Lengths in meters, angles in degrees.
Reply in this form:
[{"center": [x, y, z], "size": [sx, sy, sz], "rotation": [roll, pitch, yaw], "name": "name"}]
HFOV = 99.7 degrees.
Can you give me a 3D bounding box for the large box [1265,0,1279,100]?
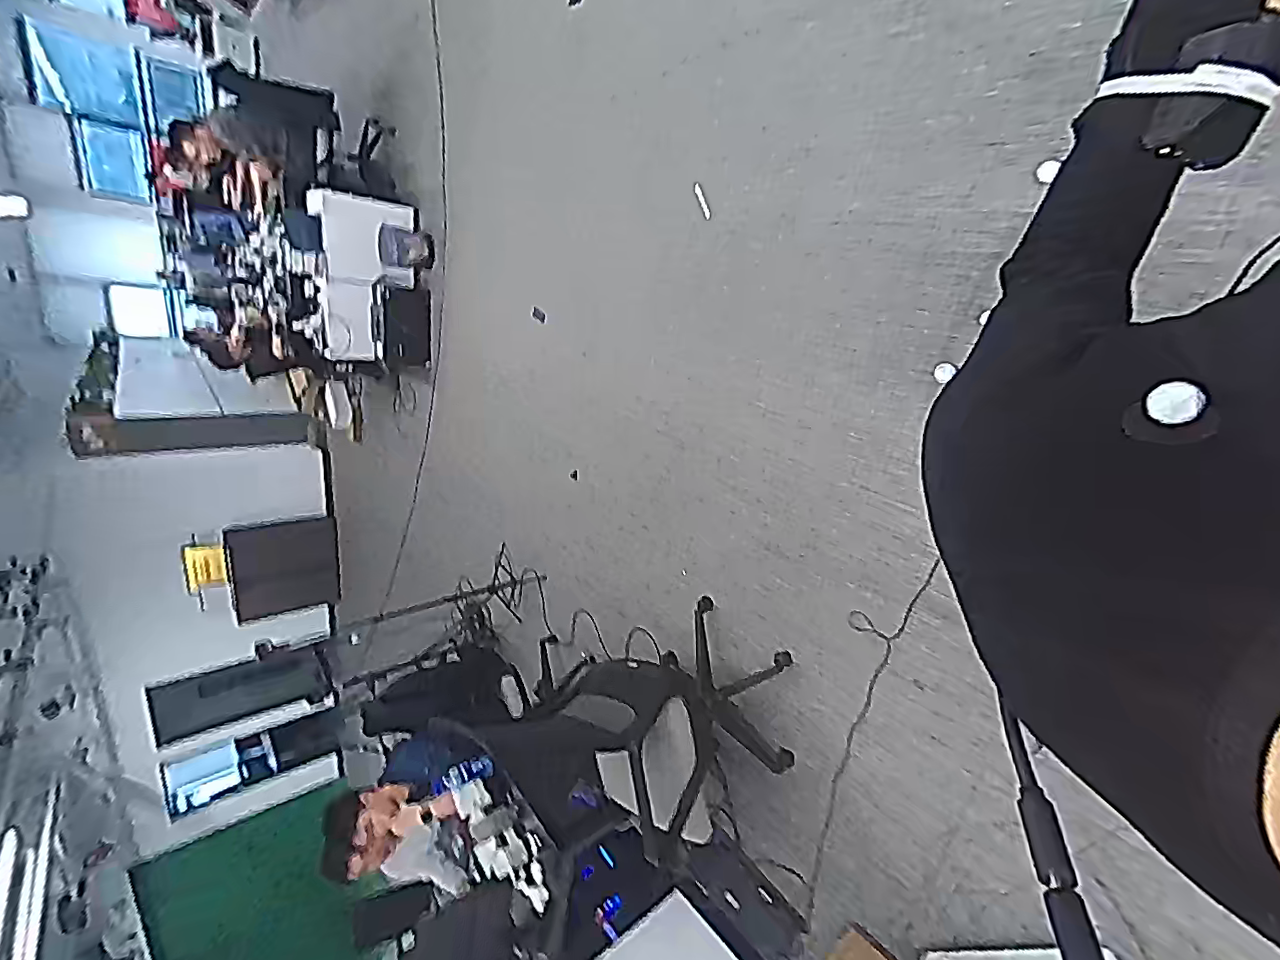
[{"center": [0.623, -0.386, 0.226], "size": [0.408, 0.320, 0.320], "rotation": [27, 125, 43], "name": "large box"}]
